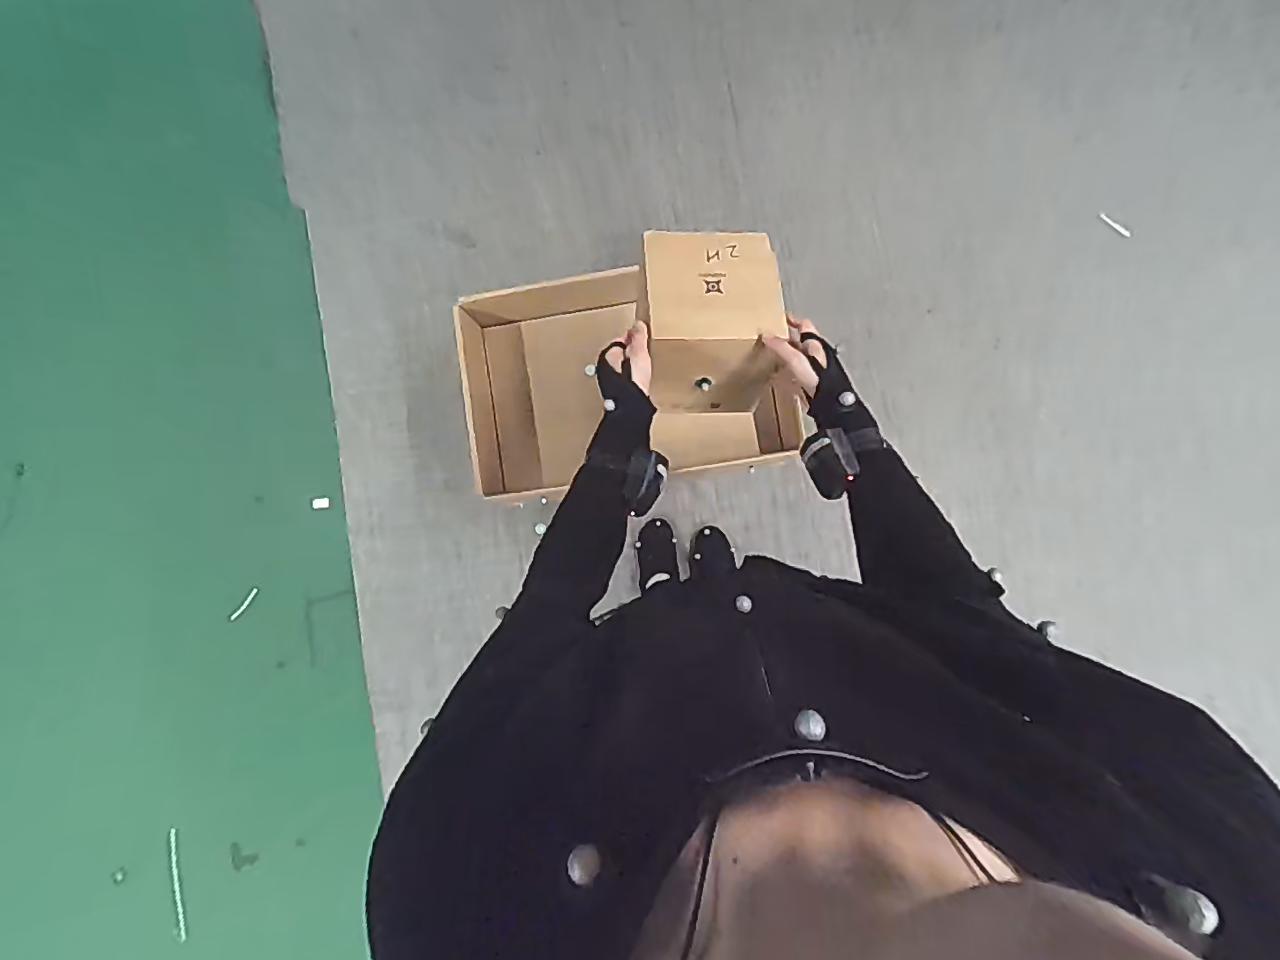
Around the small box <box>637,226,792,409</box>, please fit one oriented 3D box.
[{"bbox_3d":[0.085,-0.206,0.717,0.168,0.176,0.179,-1,64,-5],"label":"small box"}]
